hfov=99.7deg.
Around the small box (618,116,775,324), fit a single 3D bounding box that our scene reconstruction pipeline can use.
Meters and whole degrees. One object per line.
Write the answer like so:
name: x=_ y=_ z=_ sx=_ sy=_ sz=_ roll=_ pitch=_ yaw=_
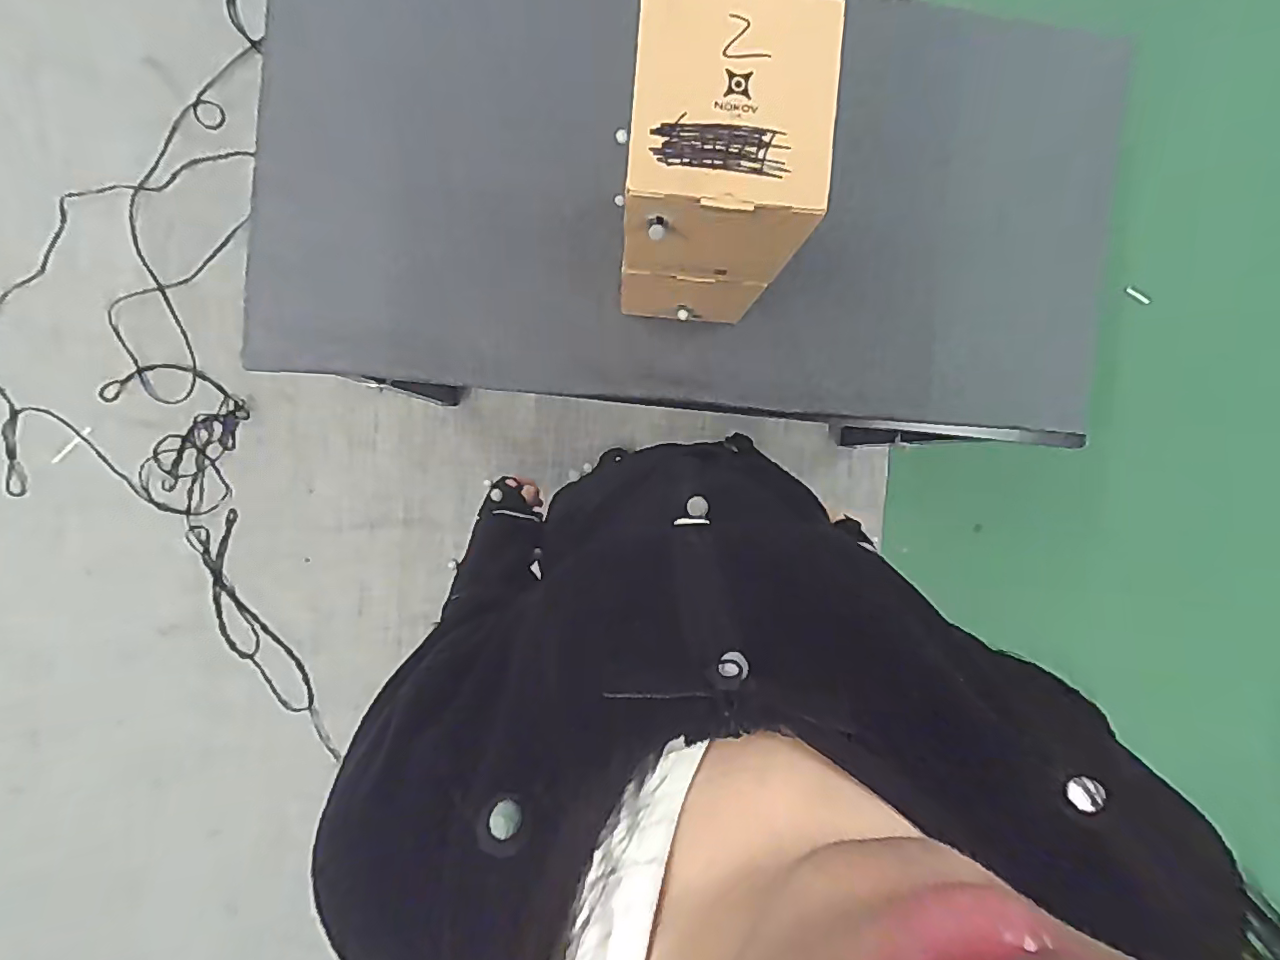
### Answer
small box: x=0.061 y=-0.312 z=0.683 sx=0.168 sy=0.176 sz=0.179 roll=4 pitch=92 yaw=-3
